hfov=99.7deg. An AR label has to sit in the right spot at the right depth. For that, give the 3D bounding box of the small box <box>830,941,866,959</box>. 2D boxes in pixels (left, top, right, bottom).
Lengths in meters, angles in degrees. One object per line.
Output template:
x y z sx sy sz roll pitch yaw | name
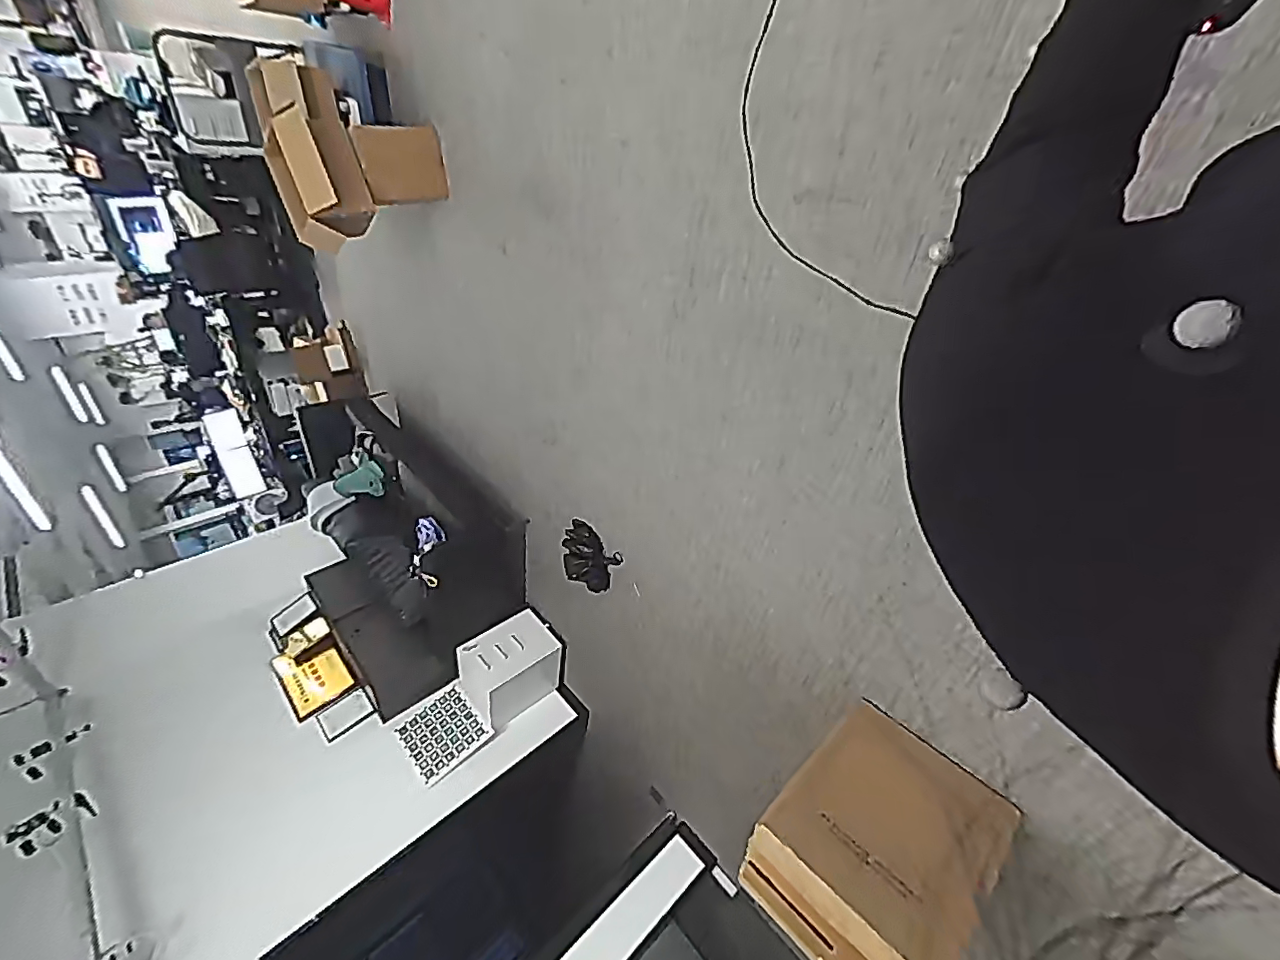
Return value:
0.536 1.341 1.367 0.179 0.176 0.168 32 123 36 | small box
